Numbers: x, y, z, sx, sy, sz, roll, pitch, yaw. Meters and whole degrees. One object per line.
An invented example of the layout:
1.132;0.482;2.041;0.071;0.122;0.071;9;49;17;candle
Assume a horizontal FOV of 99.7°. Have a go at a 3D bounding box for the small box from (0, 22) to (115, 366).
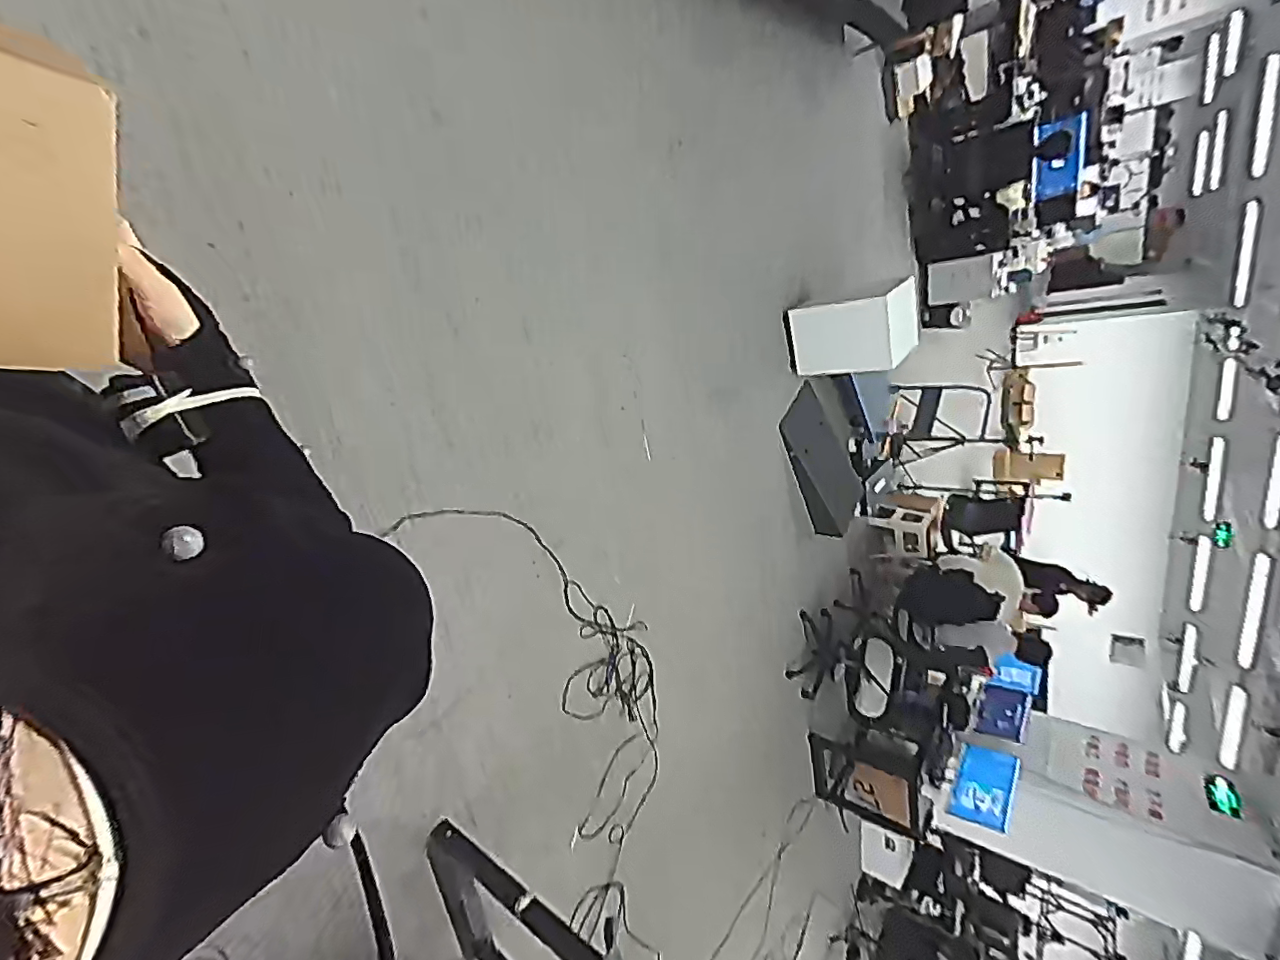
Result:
-0.427;-0.179;0.296;0.179;0.176;0.168;-8;130;-51;small box
